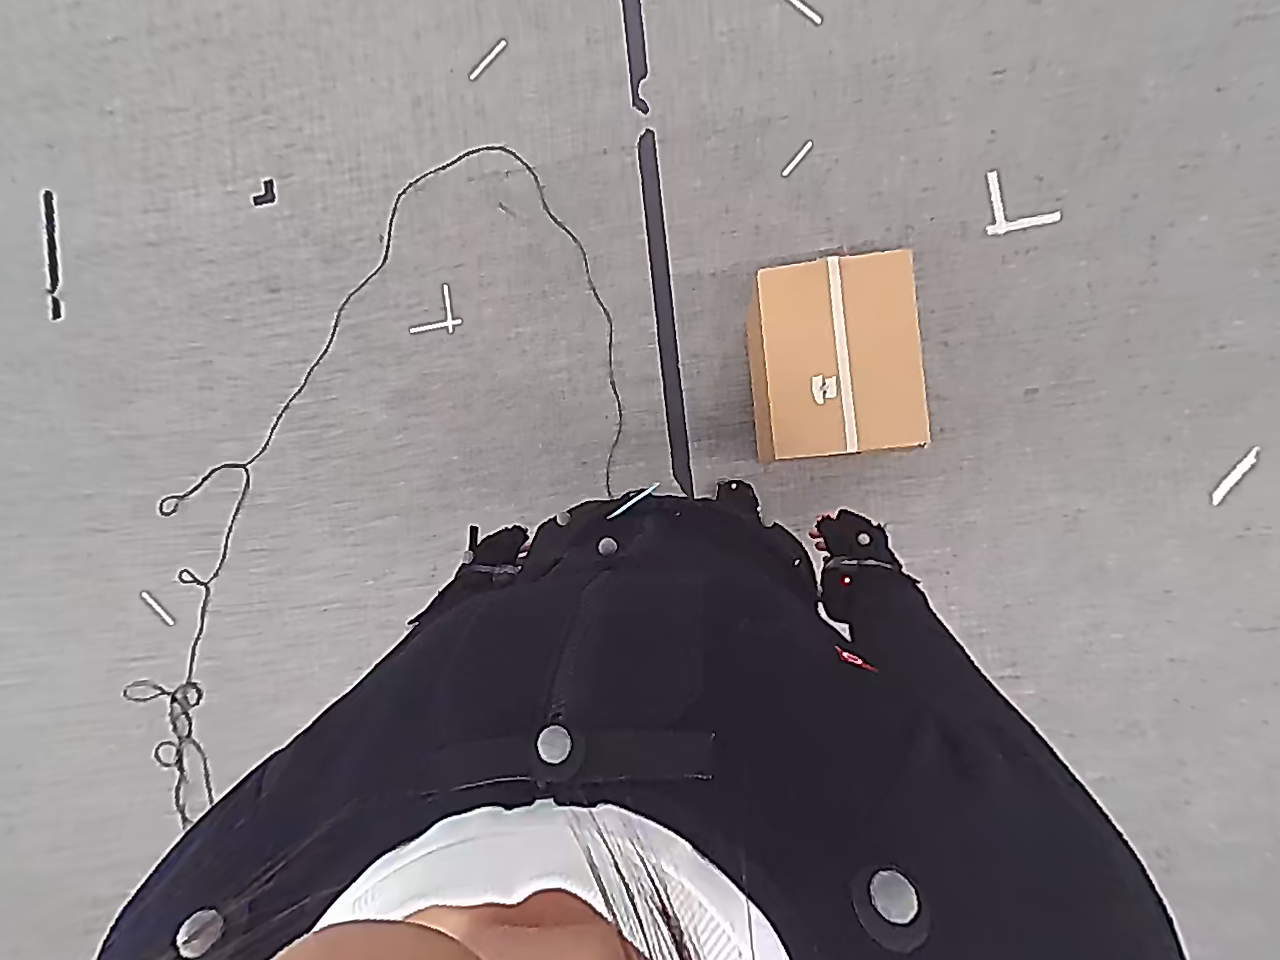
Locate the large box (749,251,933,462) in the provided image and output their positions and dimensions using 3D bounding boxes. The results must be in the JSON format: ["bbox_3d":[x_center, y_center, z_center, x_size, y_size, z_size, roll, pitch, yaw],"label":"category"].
[{"bbox_3d":[0.443,-0.259,1.266,0.320,0.320,0.408,-5,90,8],"label":"large box"}]
